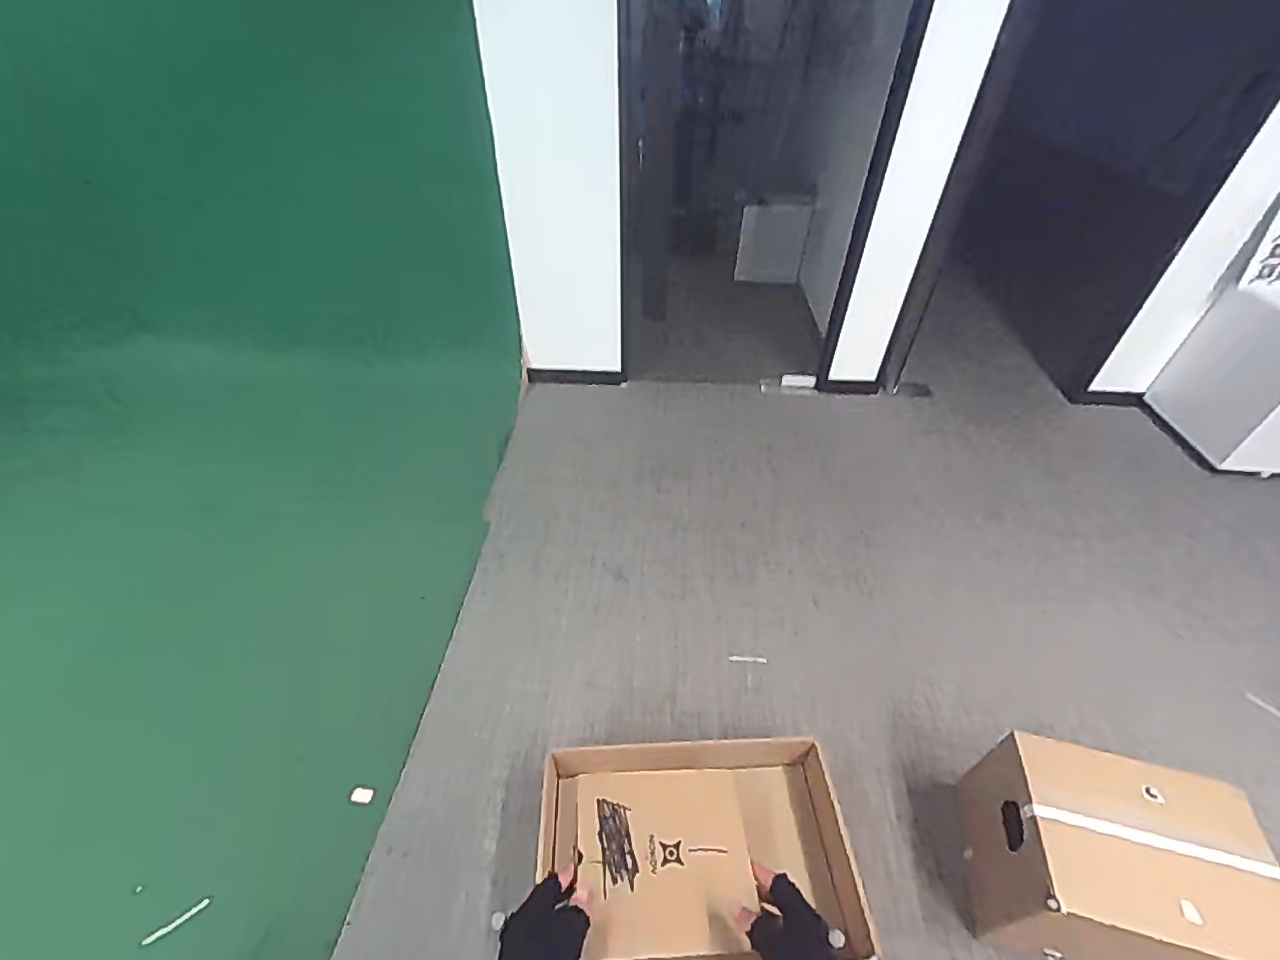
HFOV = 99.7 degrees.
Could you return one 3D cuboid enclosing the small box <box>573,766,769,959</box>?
[{"bbox_3d":[0.018,0.433,0.576,0.179,0.176,0.168,1,32,-7],"label":"small box"}]
